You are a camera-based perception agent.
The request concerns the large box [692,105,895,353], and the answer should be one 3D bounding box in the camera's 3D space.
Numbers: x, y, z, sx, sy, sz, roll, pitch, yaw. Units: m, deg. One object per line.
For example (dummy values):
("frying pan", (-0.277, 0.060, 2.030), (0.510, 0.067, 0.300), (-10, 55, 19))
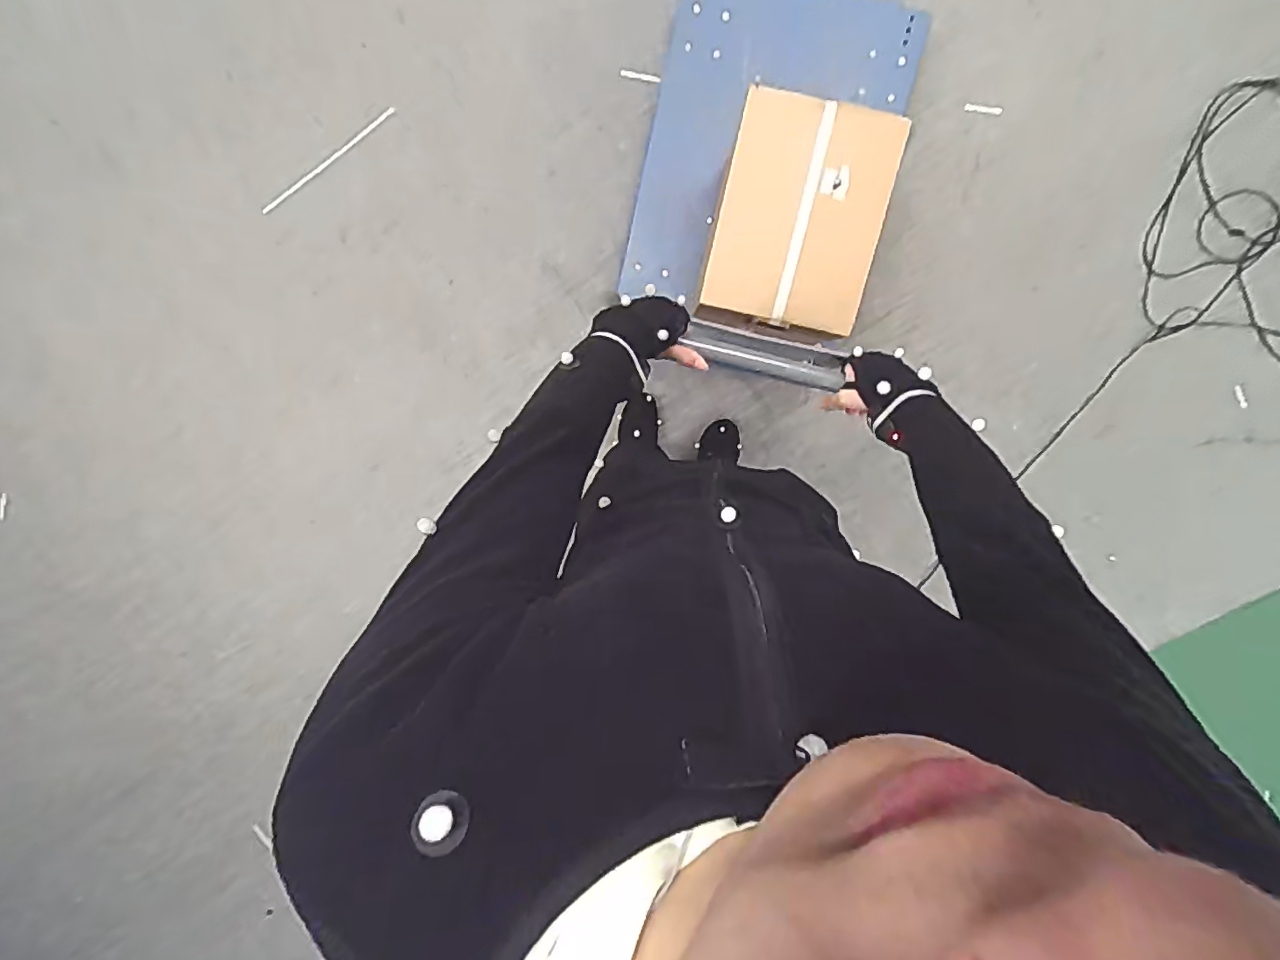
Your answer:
("large box", (0.312, -0.525, 1.221), (0.320, 0.320, 0.408), (13, 99, -1))
